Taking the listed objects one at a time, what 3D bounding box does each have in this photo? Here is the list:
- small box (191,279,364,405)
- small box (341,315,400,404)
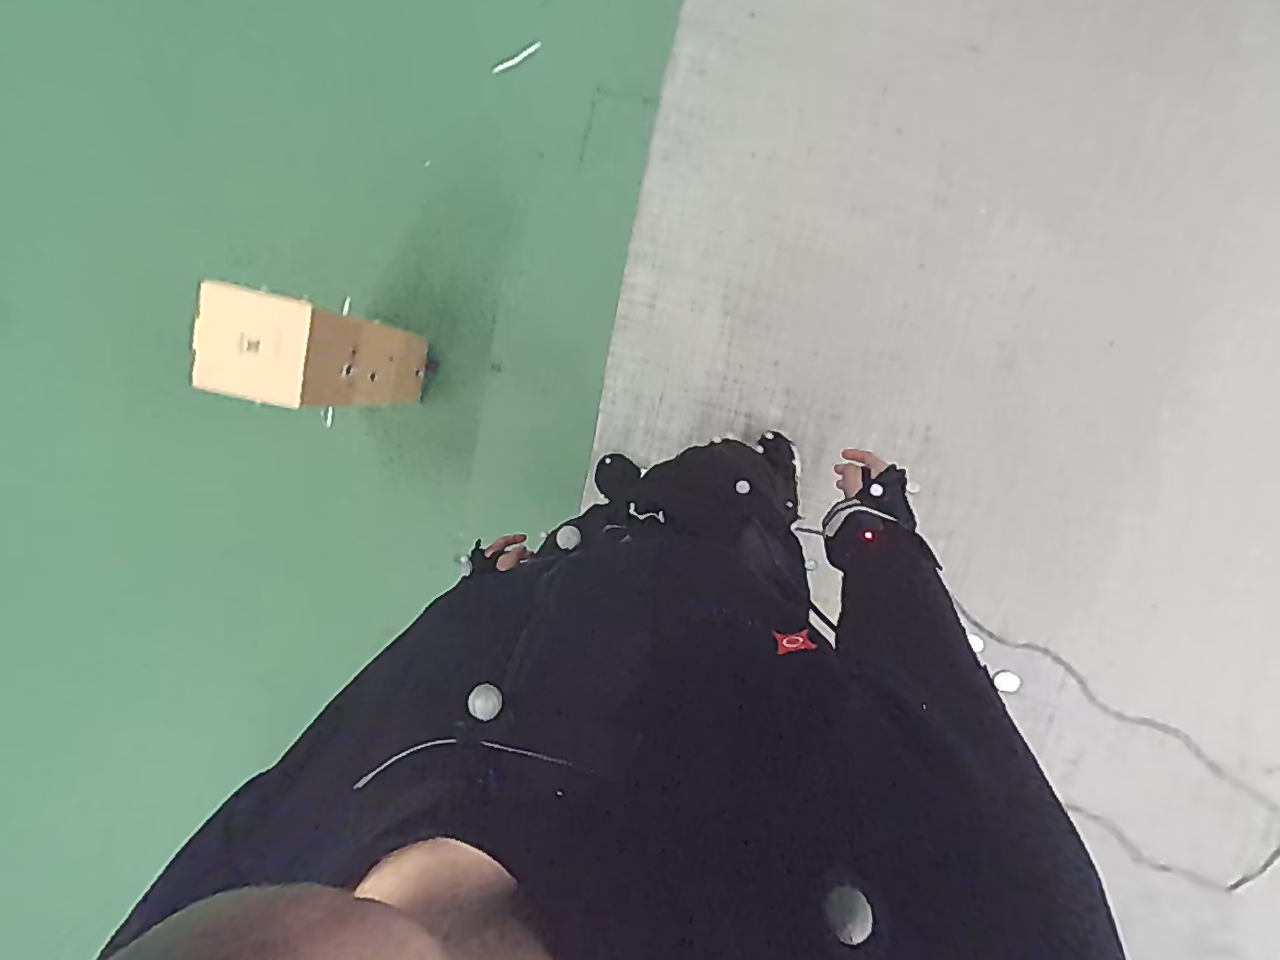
[{"bbox_3d":[-0.603,-0.224,0.916,0.179,0.176,0.168,11,99,-2],"label":"small box"},{"bbox_3d":[-0.606,-0.253,1.076,0.179,0.176,0.168,14,98,-1],"label":"small box"}]
